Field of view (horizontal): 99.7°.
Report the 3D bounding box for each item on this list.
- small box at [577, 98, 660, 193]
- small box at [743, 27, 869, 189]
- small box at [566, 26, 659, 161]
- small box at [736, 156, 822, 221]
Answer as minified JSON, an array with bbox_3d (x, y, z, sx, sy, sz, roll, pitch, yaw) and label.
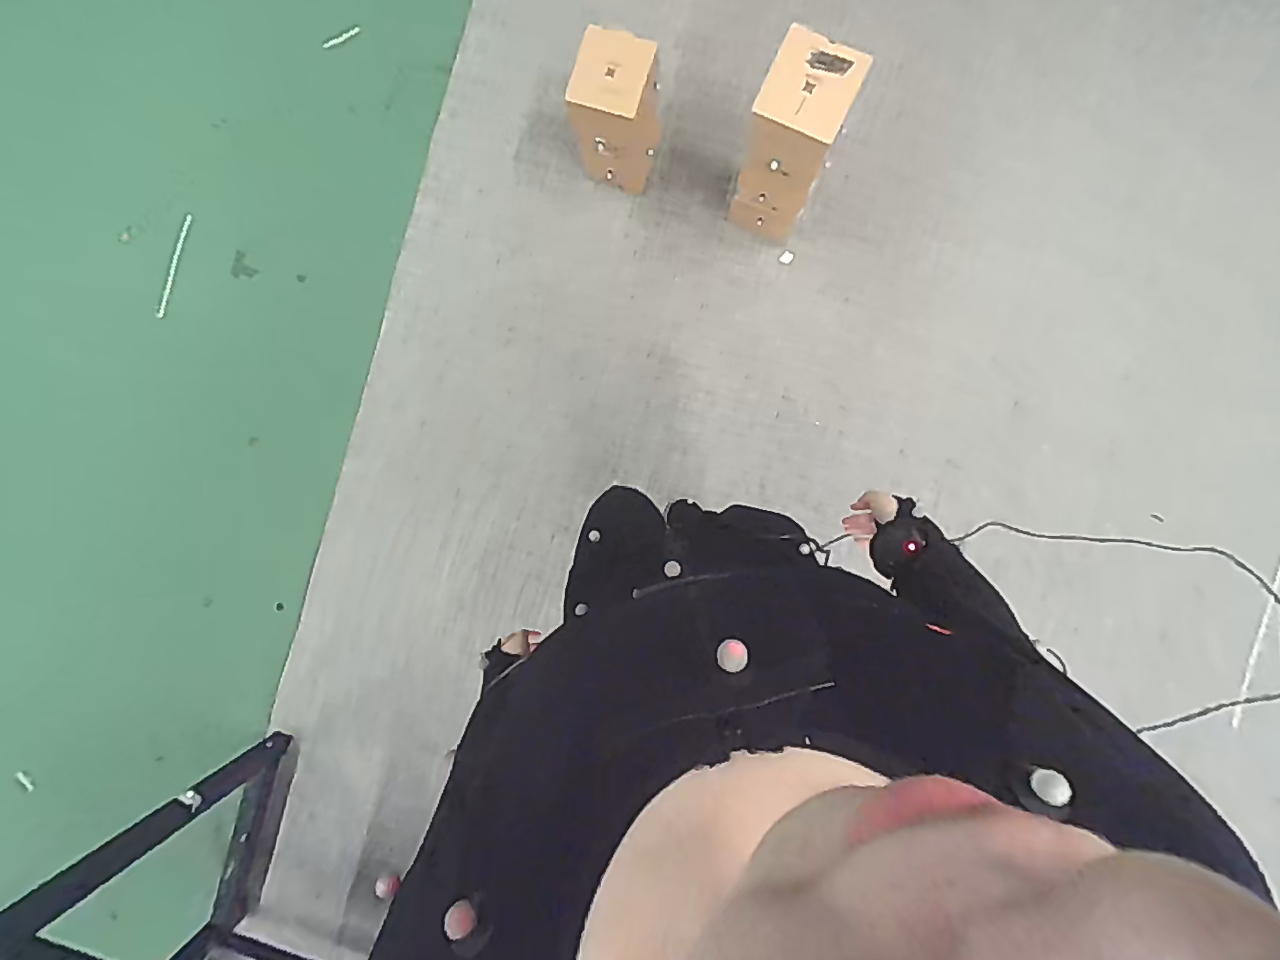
[{"bbox_3d":[-0.049,-0.899,1.428,0.168,0.176,0.179,21,93,3],"label":"small box"},{"bbox_3d":[0.318,-0.729,1.081,0.168,0.176,0.179,26,94,3],"label":"small box"},{"bbox_3d":[-0.057,-0.895,1.266,0.168,0.176,0.179,18,93,4],"label":"small box"},{"bbox_3d":[0.332,-0.740,1.244,0.168,0.176,0.179,25,93,3],"label":"small box"}]
